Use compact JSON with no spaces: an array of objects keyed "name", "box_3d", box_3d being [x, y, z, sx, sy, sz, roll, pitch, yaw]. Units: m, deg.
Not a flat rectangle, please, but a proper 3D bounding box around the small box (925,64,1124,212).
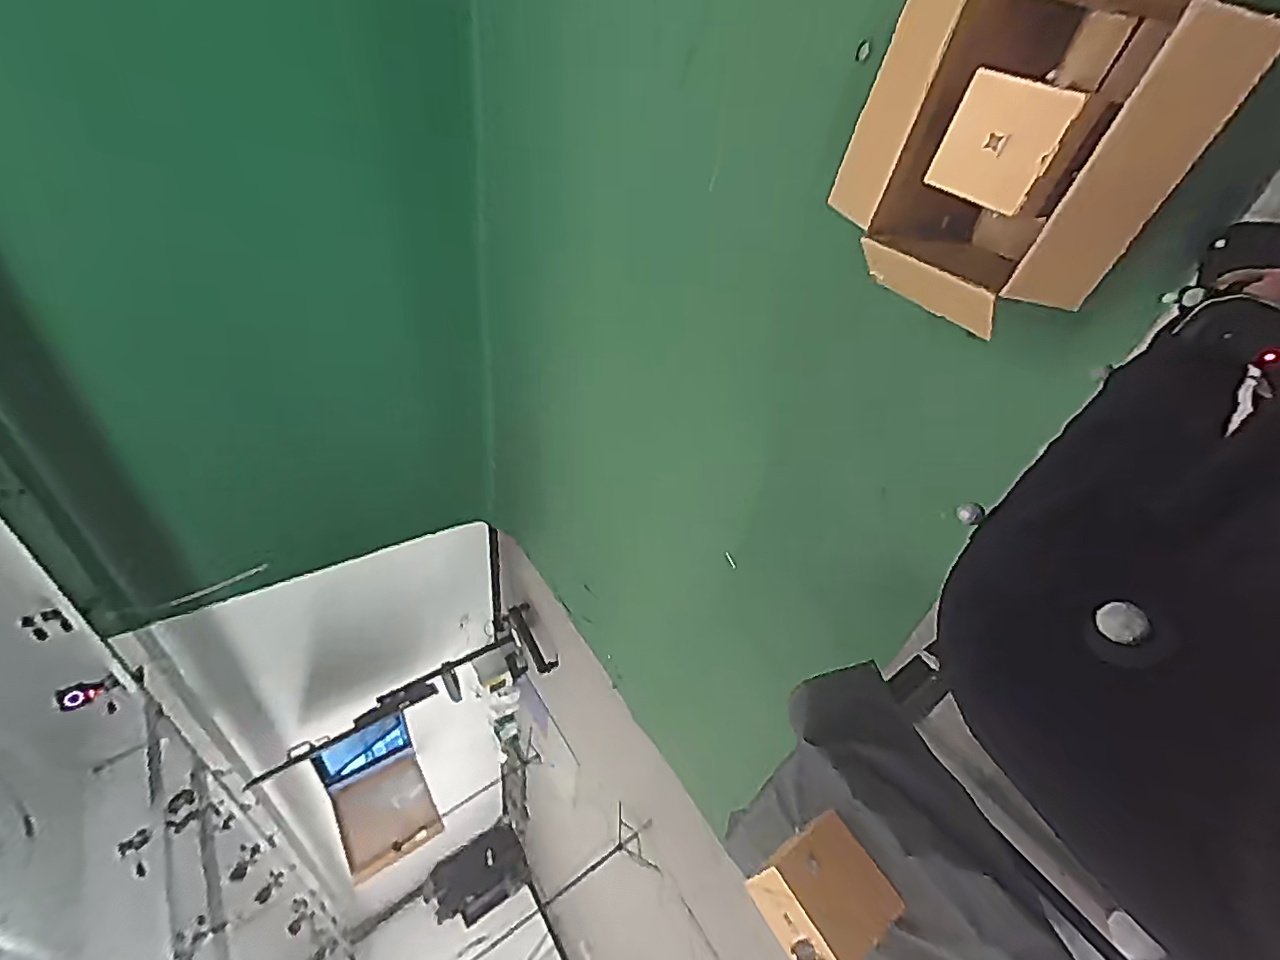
[{"name":"small box","box_3d":[0.625,-0.554,0.888,0.179,0.176,0.168,48,141,33]}]
